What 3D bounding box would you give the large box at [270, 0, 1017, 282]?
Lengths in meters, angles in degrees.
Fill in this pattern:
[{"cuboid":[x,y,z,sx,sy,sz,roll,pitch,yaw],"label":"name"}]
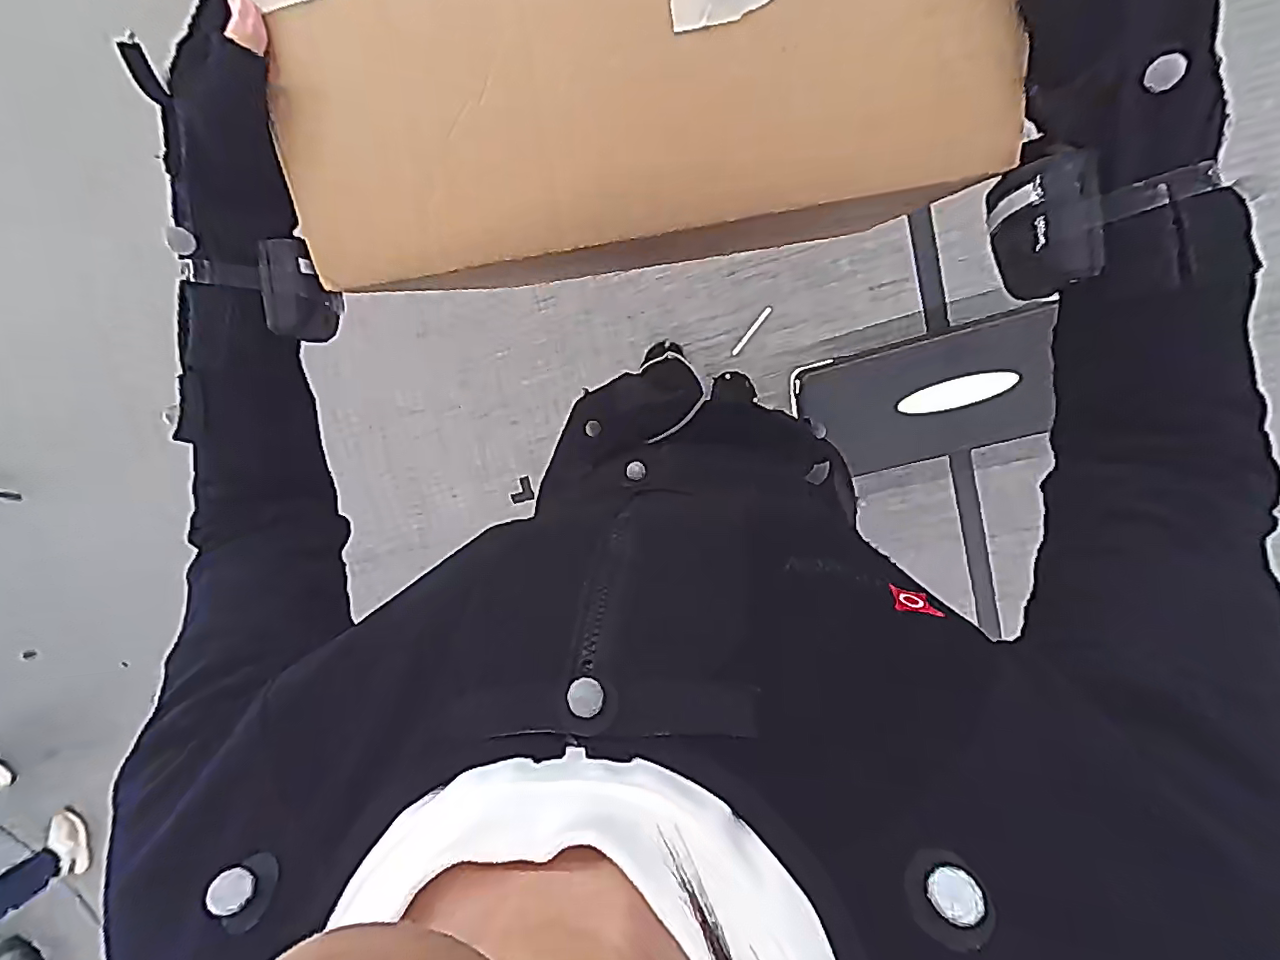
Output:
[{"cuboid":[-0.001,-0.347,0.414,0.408,0.320,0.320,-5,109,11],"label":"large box"}]
